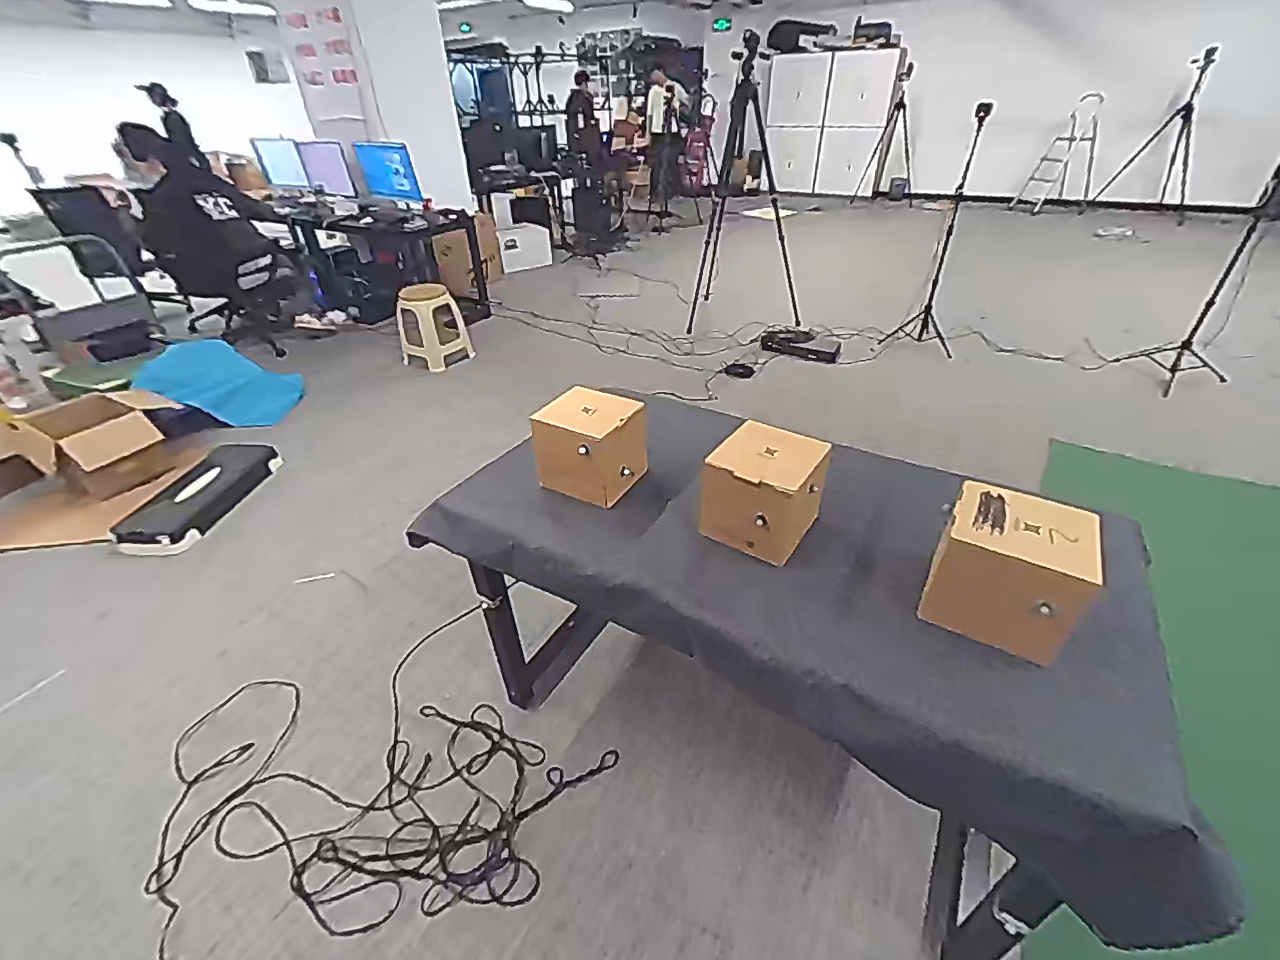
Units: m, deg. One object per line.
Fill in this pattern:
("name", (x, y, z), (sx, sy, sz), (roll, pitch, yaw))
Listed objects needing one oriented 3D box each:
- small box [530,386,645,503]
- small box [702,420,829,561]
("small box", (-0.103, -0.074, 1.125), (0.179, 0.176, 0.168), (18, 39, 24))
("small box", (0.223, 0.018, 0.983), (0.168, 0.176, 0.179), (22, 41, 28))
